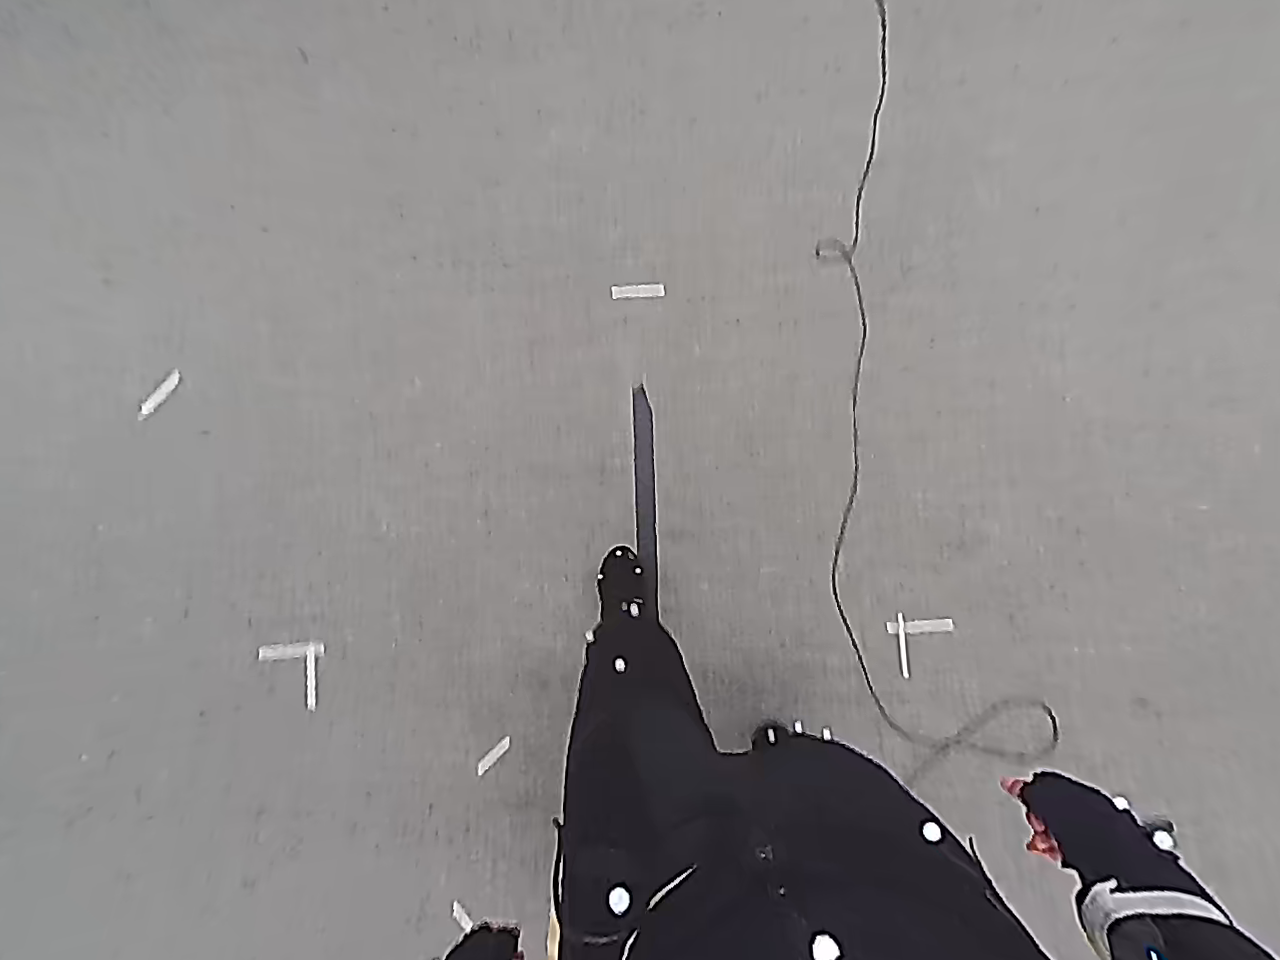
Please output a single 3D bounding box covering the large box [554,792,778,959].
[{"bbox_3d":[0.049,0.895,1.126,0.408,0.320,0.320,5,85,5],"label":"large box"}]
